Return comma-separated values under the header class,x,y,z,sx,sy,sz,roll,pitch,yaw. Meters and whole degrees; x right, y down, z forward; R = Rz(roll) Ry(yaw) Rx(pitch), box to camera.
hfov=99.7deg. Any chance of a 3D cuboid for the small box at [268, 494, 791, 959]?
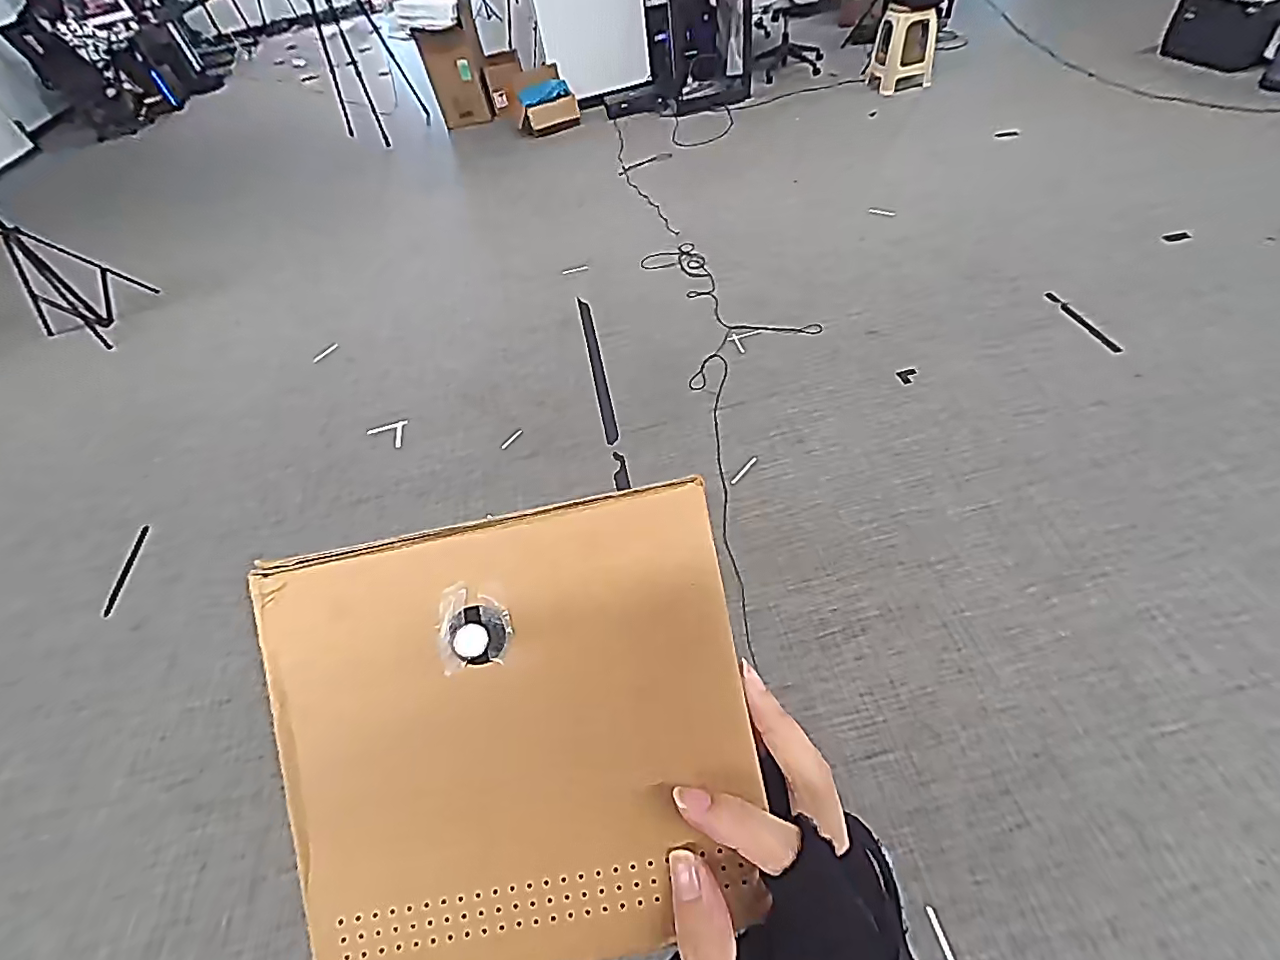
class,x,y,z,sx,sy,sz,roll,pitch,yaw
small box,-0.040,0.107,0.279,0.179,0.168,0.176,-11,88,2
